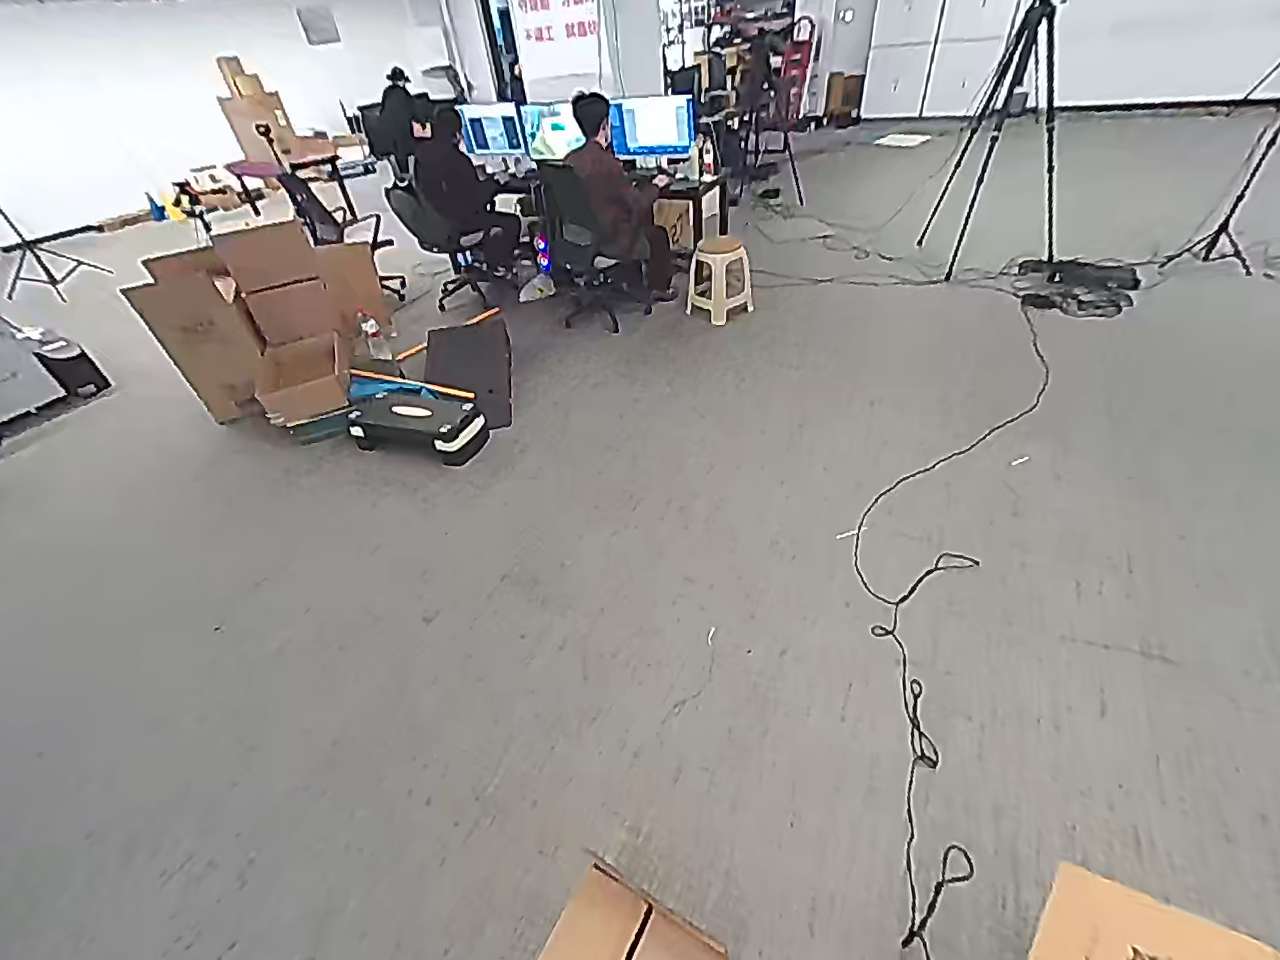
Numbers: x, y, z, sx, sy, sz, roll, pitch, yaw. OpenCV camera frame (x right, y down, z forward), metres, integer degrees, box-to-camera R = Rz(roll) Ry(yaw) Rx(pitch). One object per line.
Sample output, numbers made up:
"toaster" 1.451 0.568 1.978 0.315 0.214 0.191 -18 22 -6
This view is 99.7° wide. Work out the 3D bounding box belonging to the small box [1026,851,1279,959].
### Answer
"small box" 0.526 0.541 0.544 0.168 0.176 0.179 -17 9 -36
